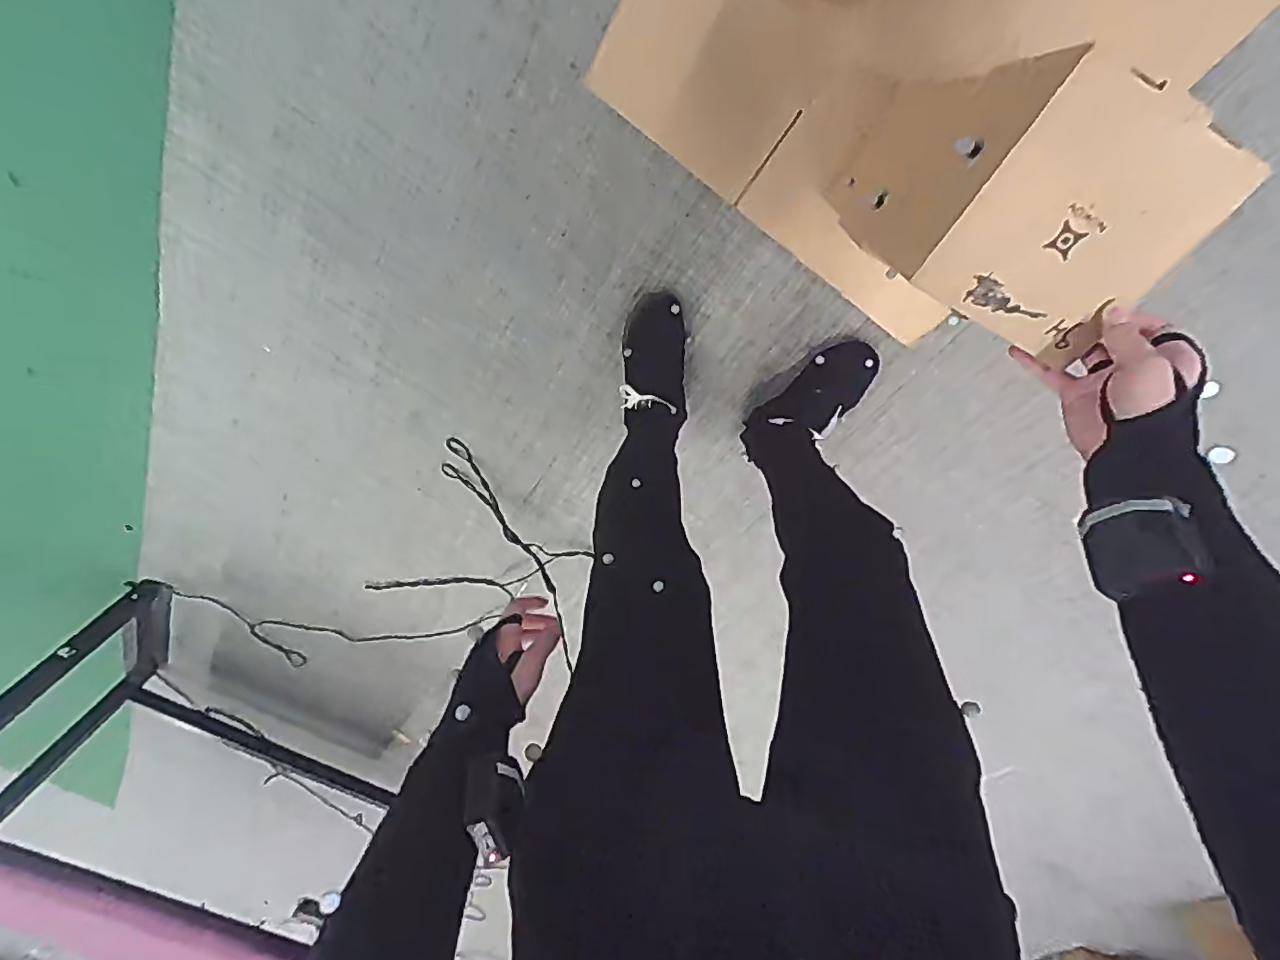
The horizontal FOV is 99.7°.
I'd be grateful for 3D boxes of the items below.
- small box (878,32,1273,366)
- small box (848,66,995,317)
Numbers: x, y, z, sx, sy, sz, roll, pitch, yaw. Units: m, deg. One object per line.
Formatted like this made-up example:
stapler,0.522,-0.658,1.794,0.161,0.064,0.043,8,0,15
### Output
small box,0.339,-0.236,0.472,0.168,0.176,0.179,26,123,-7
small box,0.359,-0.322,0.612,0.168,0.176,0.179,27,124,-9
